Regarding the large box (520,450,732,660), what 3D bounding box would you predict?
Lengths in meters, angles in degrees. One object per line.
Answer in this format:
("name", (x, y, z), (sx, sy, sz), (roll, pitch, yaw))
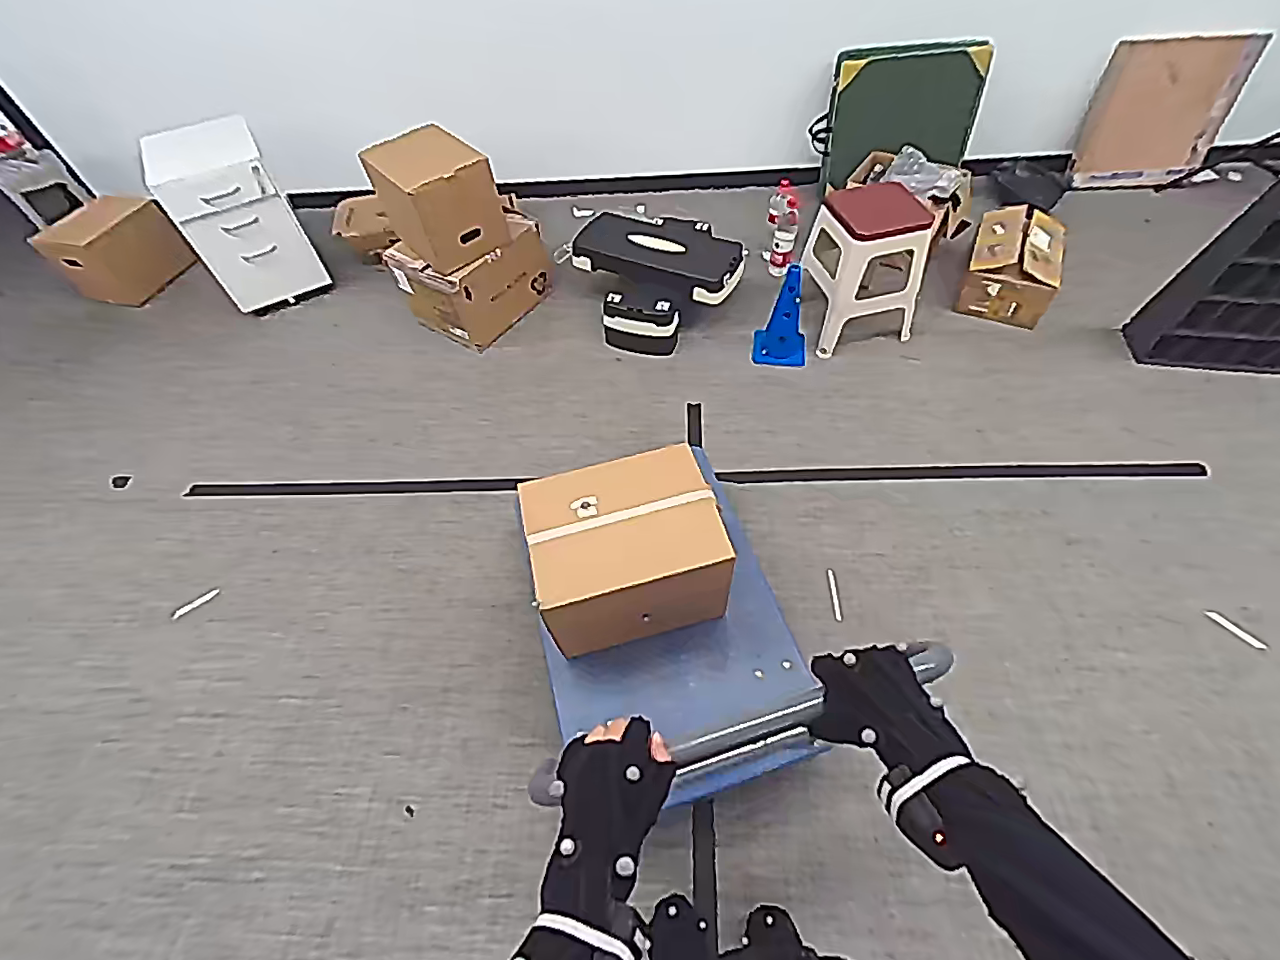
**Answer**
("large box", (-0.030, 0.182, 1.275), (0.408, 0.320, 0.320), (-15, 55, -5))
